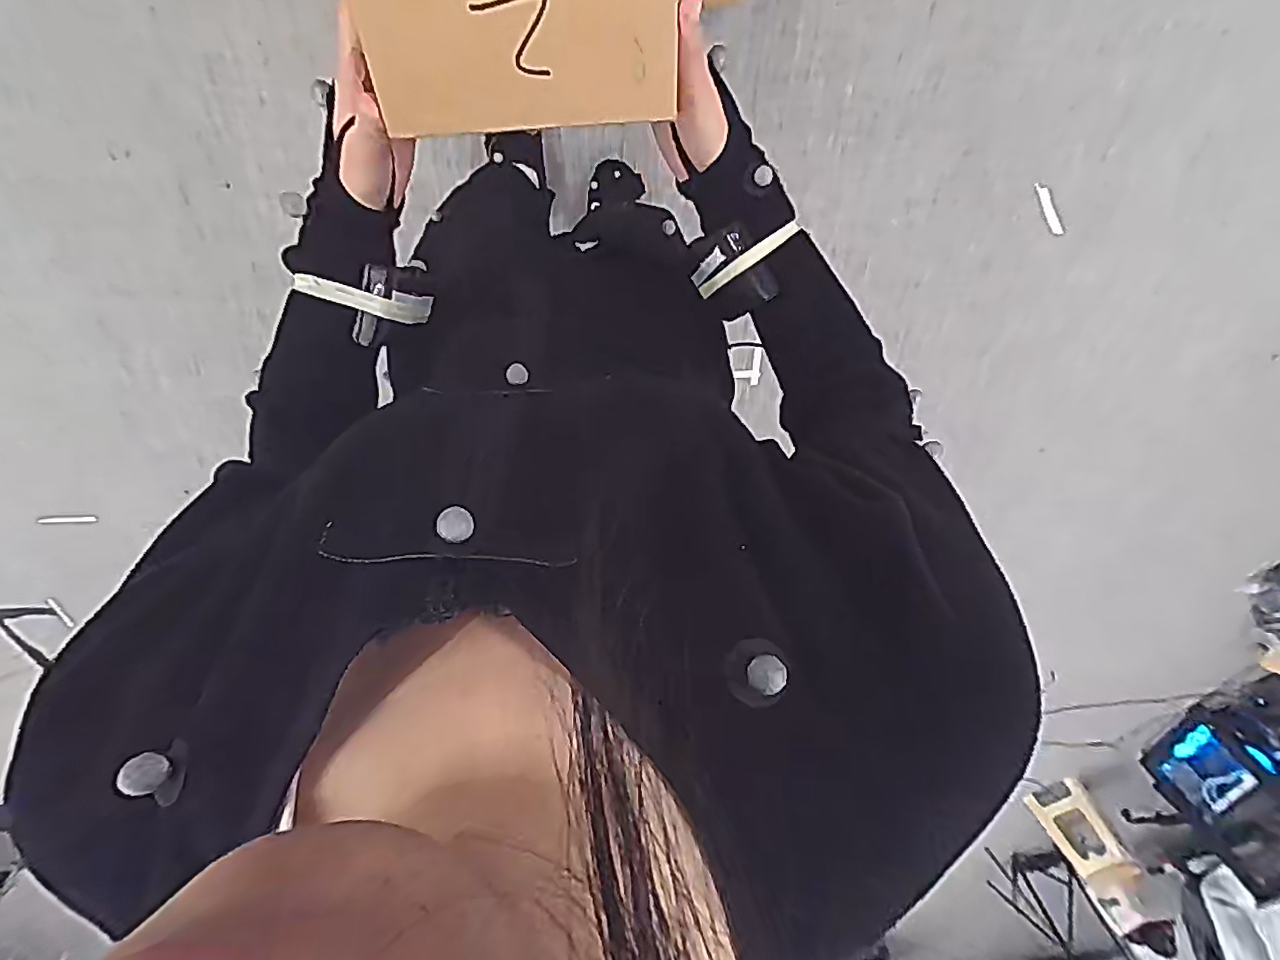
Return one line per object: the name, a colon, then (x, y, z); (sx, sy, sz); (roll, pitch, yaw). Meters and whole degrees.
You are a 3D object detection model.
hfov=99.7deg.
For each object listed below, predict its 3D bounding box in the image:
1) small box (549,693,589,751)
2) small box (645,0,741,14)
small box: (-0.304, 1.028, 2.308); (0.168, 0.176, 0.179); (0, 126, -7)
small box: (0.095, -0.953, 0.953); (0.168, 0.176, 0.179); (-3, 125, -6)
